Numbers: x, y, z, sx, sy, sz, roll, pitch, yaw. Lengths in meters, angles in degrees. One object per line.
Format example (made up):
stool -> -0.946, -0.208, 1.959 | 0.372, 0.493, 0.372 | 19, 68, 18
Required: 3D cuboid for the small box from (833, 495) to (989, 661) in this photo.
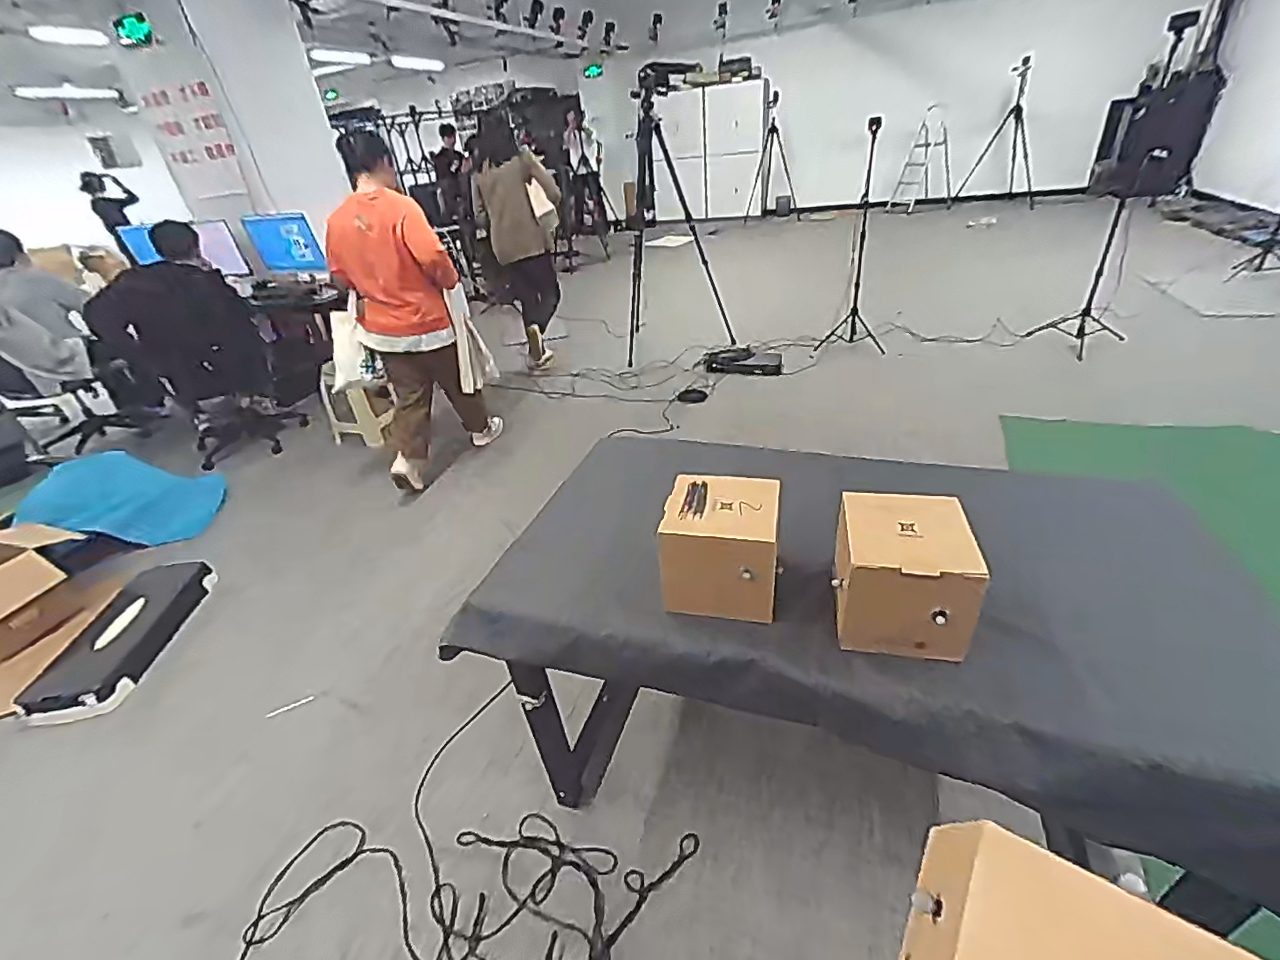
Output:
small box -> 0.384, 0.142, 0.800 | 0.168, 0.176, 0.179 | 3, 32, 13
